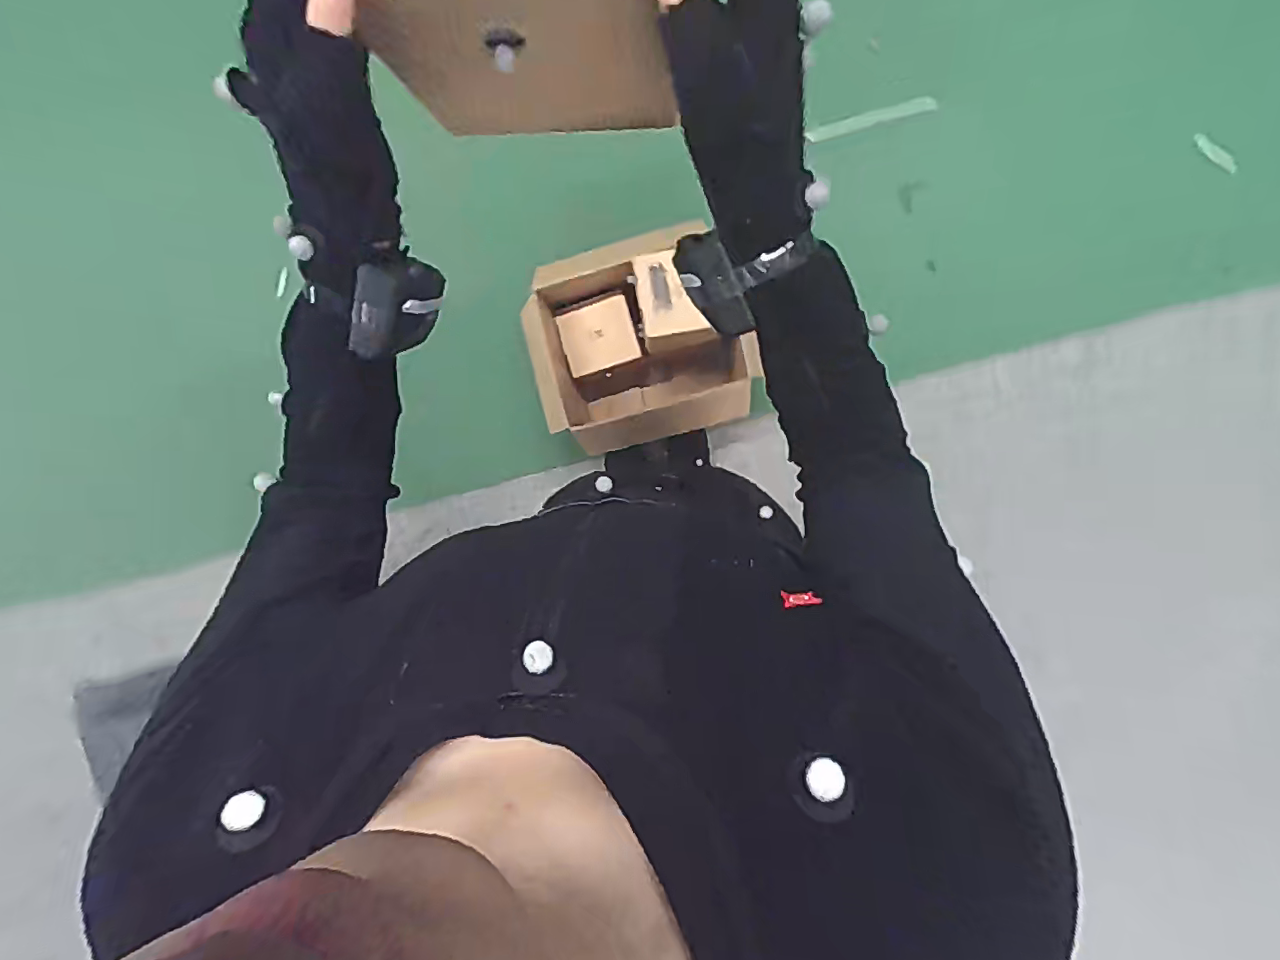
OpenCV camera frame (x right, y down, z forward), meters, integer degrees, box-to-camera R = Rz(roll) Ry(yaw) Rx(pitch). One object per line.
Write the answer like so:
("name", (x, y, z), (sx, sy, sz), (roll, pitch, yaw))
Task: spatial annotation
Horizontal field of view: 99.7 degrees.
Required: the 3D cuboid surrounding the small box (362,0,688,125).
("small box", (-0.060, -0.329, 0.313), (0.179, 0.176, 0.168), (0, 104, 1))
